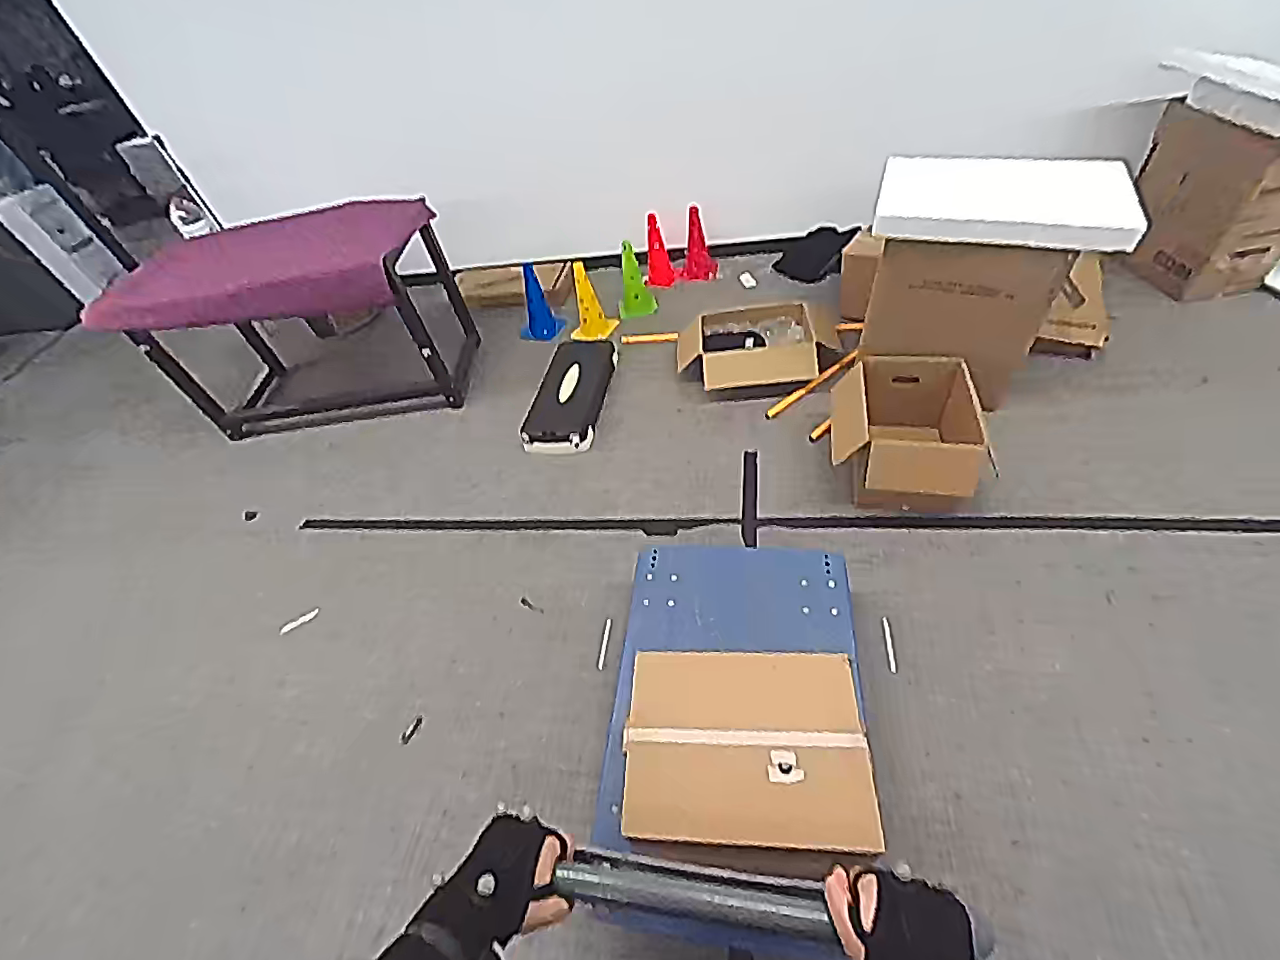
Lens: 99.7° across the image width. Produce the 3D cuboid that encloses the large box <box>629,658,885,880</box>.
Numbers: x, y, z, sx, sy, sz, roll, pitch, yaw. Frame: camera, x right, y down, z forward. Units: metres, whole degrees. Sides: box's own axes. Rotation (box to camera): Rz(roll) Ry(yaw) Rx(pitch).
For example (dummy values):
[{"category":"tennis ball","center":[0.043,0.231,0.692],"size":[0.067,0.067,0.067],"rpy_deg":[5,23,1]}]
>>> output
[{"category":"large box","center":[0.202,0.558,1.047],"size":[0.408,0.320,0.320],"rpy_deg":[-2,48,8]}]
